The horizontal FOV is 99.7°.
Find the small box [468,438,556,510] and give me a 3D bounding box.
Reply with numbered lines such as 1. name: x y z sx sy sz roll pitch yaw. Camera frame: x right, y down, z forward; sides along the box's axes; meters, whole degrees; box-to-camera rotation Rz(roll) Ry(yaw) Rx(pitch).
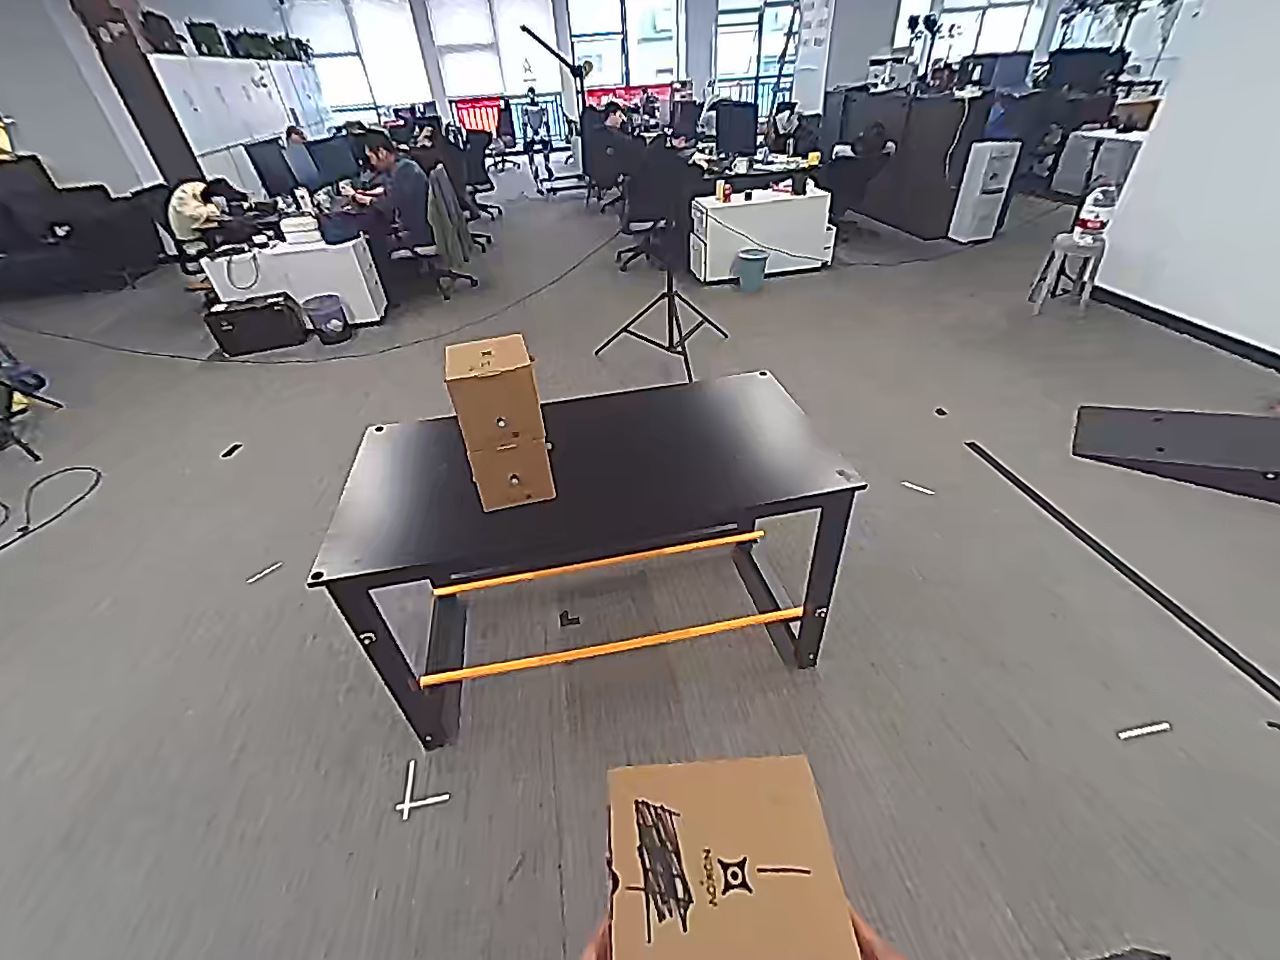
1. small box: -0.299 -0.046 1.265 0.168 0.176 0.179 -12 38 -9

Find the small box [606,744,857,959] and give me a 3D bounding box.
1. small box: 0.064 0.355 0.473 0.179 0.176 0.168 -3 41 -1

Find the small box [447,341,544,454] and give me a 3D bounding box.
1. small box: -0.310 -0.180 1.168 0.168 0.176 0.179 -13 38 -10
